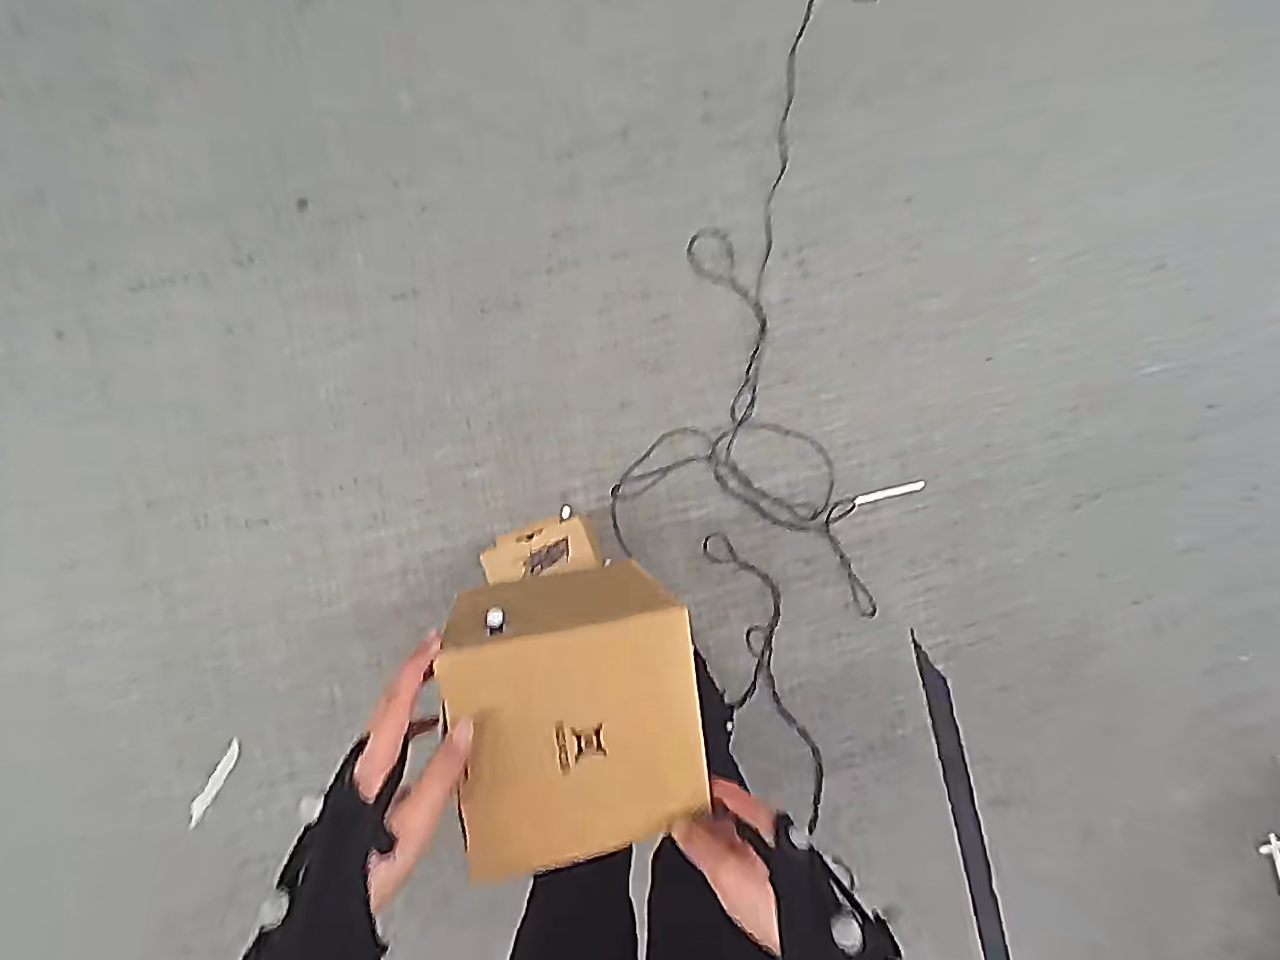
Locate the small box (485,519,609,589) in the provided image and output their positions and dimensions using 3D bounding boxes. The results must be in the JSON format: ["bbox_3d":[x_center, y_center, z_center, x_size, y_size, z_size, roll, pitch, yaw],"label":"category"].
[{"bbox_3d":[-0.138,0.171,0.912,0.168,0.176,0.179,-22,91,-2],"label":"small box"}]

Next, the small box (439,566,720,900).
[{"bbox_3d":[-0.052,0.178,0.442,0.179,0.176,0.168,-9,96,-11],"label":"small box"}]
